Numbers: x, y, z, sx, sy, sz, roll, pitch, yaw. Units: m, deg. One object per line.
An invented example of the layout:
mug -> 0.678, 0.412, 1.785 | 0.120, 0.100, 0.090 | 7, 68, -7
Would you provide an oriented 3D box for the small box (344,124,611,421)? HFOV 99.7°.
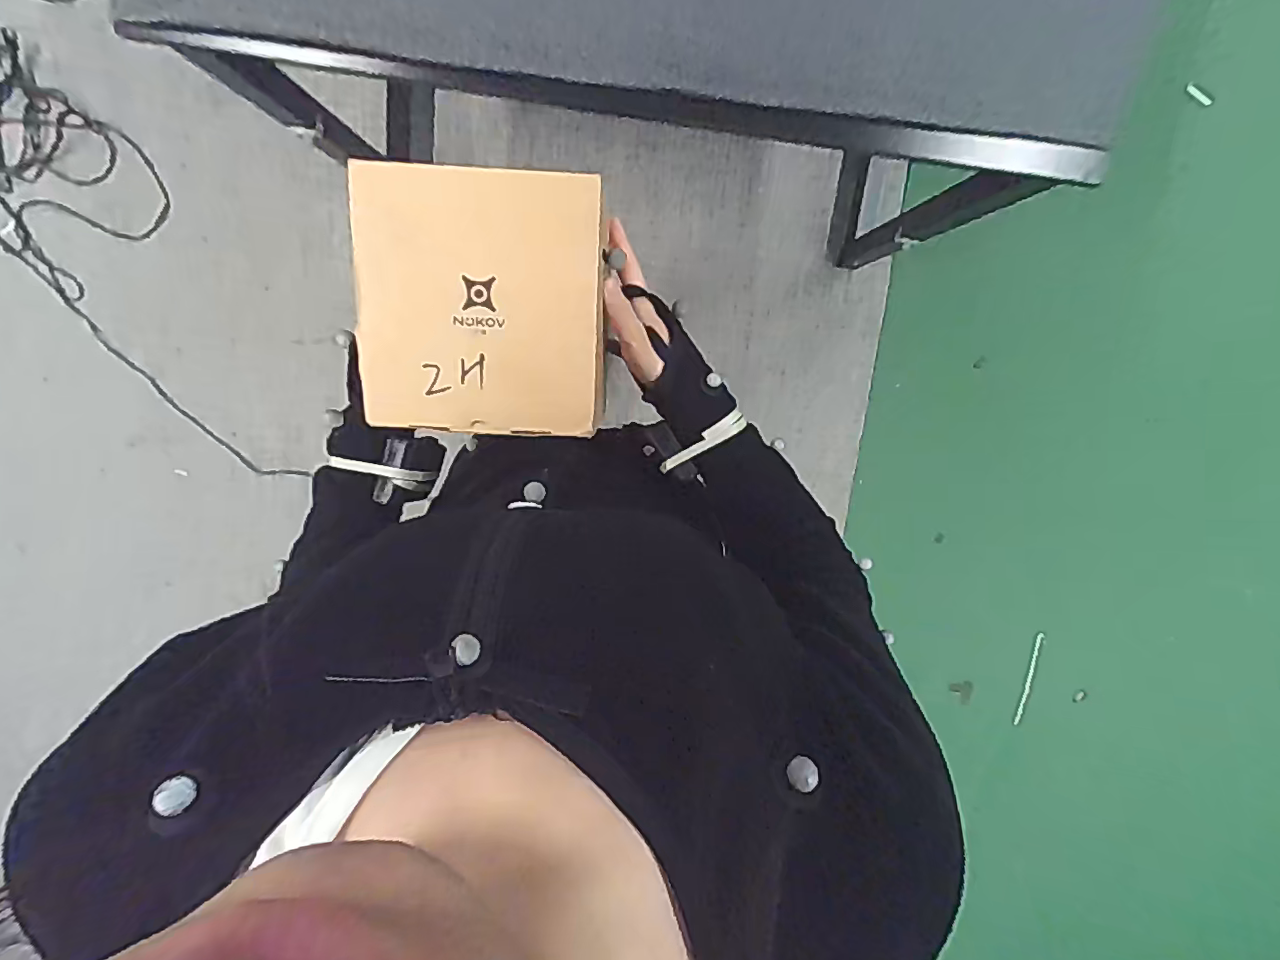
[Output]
small box -> -0.110, -0.147, 0.432 | 0.168, 0.176, 0.179 | 3, 103, -2
